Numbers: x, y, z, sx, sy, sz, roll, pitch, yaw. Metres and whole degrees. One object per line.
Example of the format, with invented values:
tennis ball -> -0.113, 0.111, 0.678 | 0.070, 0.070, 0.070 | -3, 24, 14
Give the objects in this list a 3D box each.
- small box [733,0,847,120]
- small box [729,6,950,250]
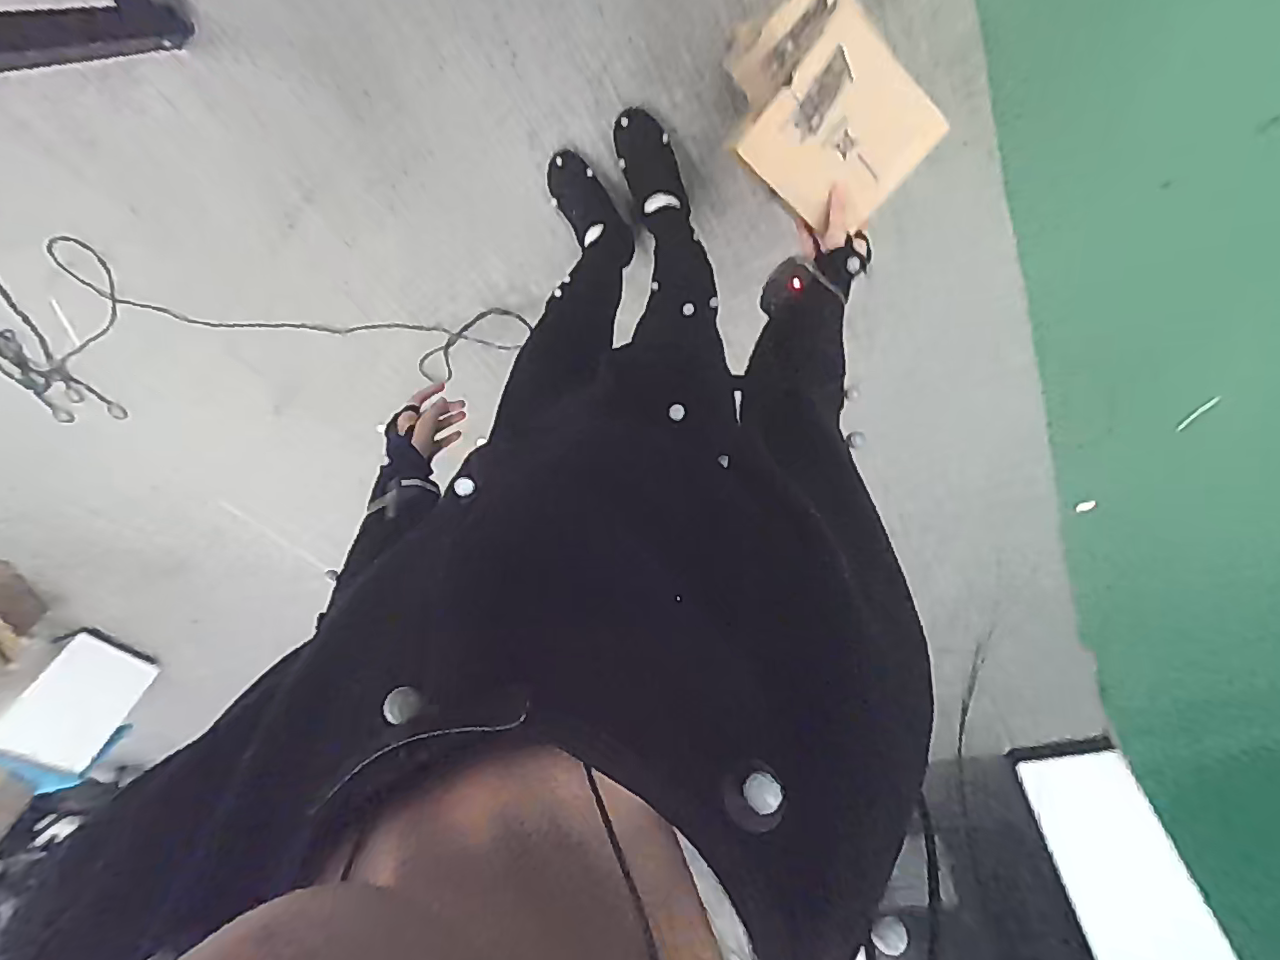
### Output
small box -> 0.264, -0.733, 0.952 | 0.179, 0.176, 0.168 | -13, 130, 16
small box -> 0.229, -0.419, 0.671 | 0.179, 0.176, 0.168 | 35, 117, -18
